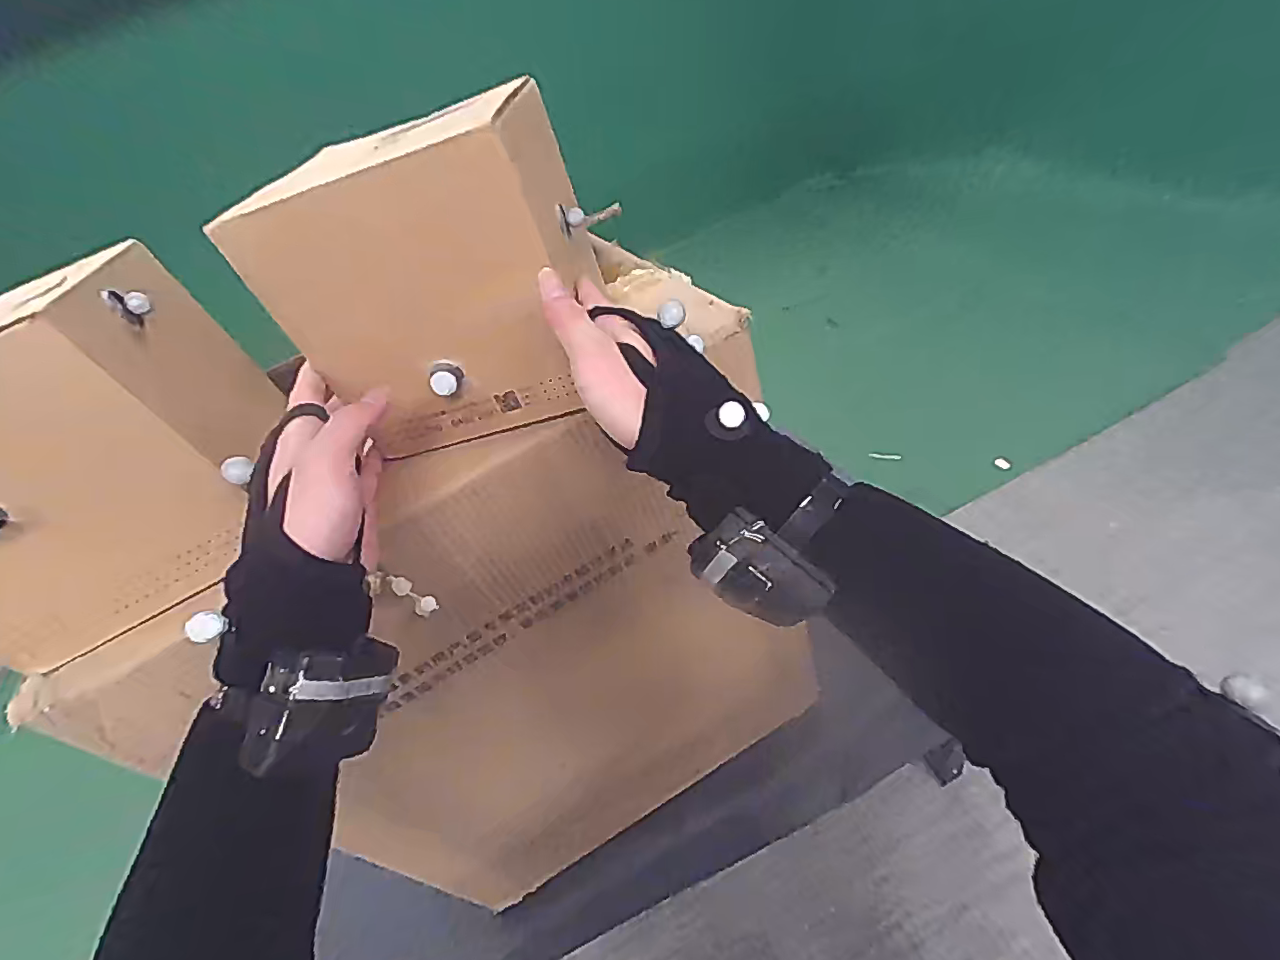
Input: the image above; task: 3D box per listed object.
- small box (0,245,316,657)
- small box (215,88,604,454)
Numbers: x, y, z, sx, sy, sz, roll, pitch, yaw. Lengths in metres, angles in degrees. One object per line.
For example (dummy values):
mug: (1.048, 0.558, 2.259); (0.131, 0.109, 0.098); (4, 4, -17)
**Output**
small box: (-0.353, -0.019, 0.355); (0.179, 0.176, 0.168); (-31, 43, -6)
small box: (-0.130, -0.147, 0.387); (0.168, 0.176, 0.179); (-13, 42, 9)
